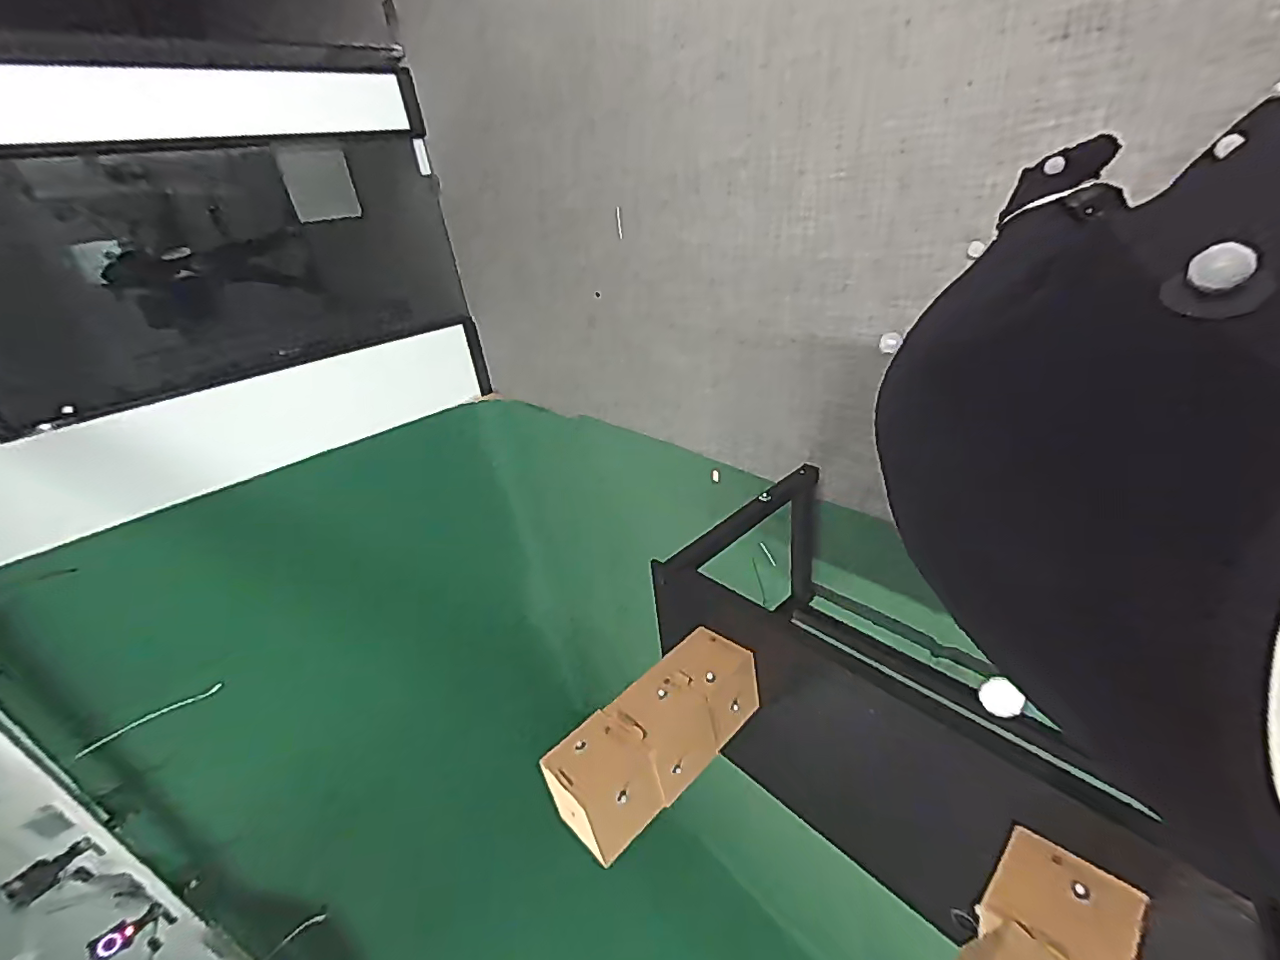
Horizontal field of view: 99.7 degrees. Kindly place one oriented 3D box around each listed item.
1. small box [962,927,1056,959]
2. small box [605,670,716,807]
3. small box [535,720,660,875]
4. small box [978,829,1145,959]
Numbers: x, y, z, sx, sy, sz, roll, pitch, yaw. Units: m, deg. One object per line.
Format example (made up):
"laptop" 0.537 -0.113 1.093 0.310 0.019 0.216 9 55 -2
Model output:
"small box" 0.527 0.766 0.738 0.168 0.176 0.179 35 139 34
"small box" 0.051 0.566 1.205 0.168 0.176 0.179 14 124 46
"small box" -0.083 0.637 1.108 0.168 0.176 0.179 14 126 47
"small box" 0.645 0.700 0.833 0.168 0.176 0.179 14 123 48
